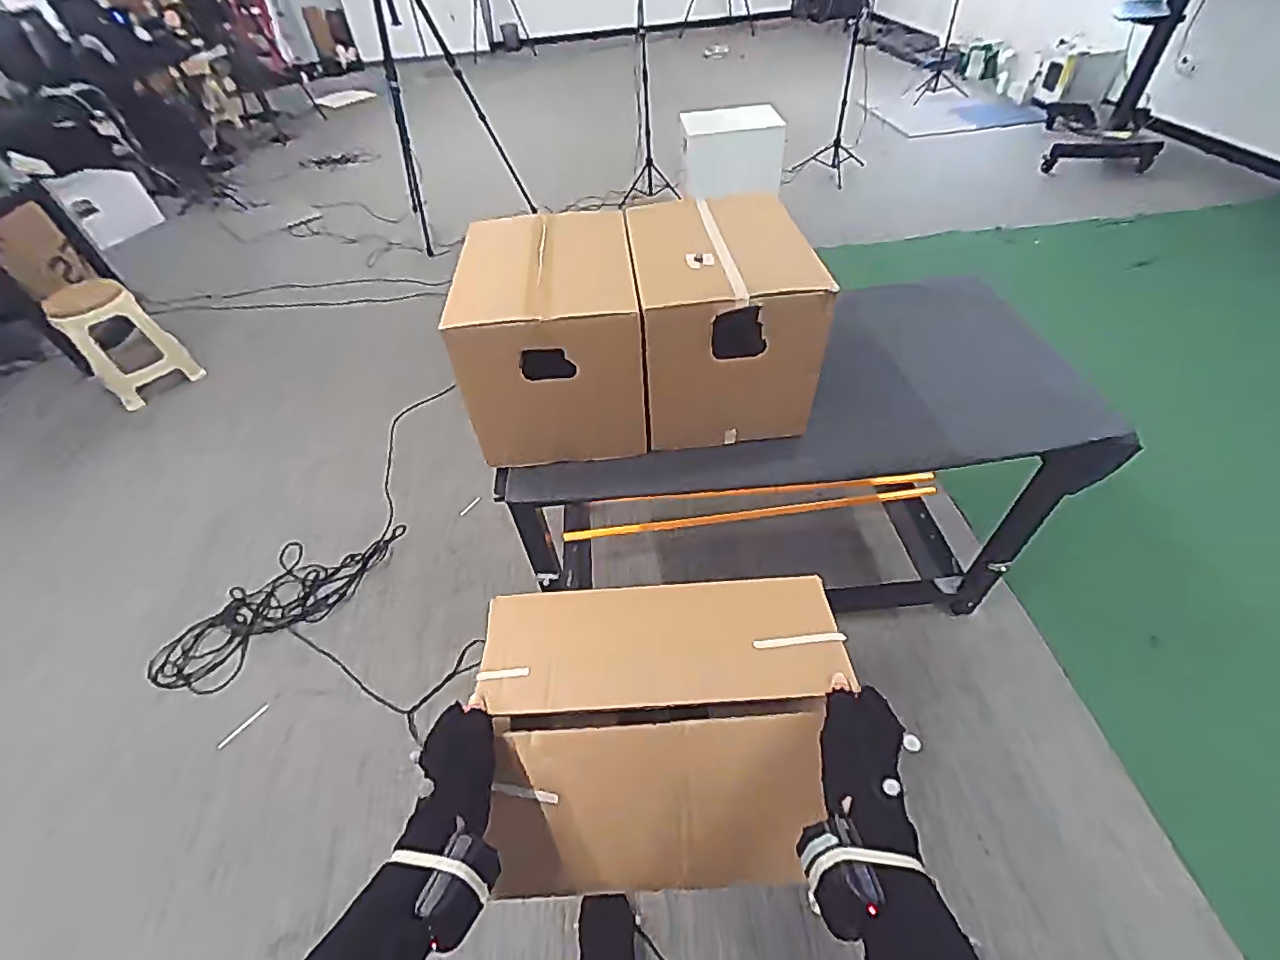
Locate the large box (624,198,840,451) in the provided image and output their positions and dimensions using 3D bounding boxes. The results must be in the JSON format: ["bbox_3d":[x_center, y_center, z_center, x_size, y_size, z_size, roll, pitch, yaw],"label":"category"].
[{"bbox_3d":[0.151,-0.317,1.085,0.320,0.320,0.408,-7,48,0],"label":"large box"}]
